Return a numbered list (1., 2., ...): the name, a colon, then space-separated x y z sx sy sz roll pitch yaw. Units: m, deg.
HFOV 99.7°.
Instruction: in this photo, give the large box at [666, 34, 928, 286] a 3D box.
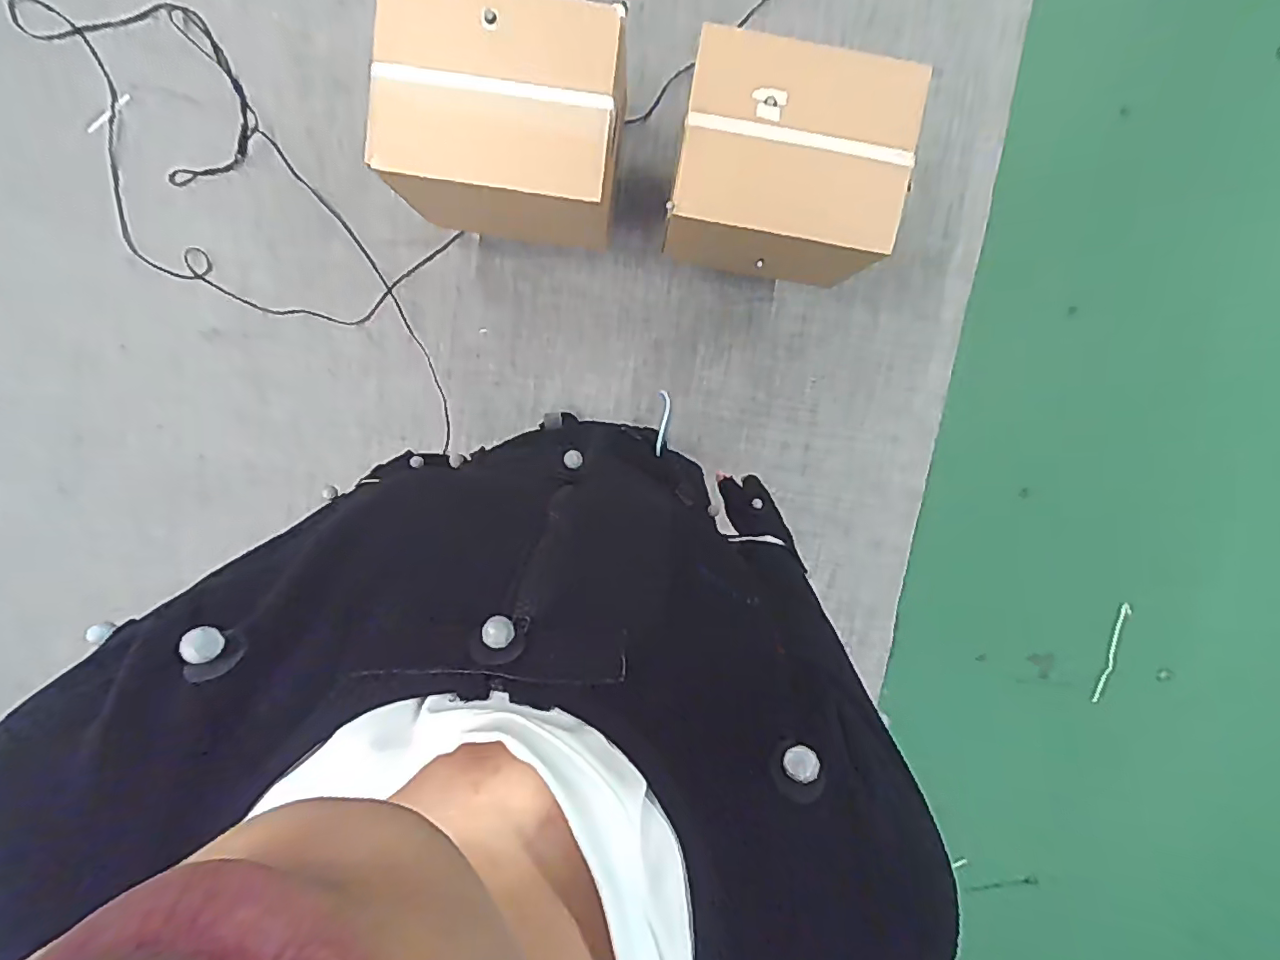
1. large box: 0.282 -0.610 1.101 0.408 0.320 0.320 10 98 -2
